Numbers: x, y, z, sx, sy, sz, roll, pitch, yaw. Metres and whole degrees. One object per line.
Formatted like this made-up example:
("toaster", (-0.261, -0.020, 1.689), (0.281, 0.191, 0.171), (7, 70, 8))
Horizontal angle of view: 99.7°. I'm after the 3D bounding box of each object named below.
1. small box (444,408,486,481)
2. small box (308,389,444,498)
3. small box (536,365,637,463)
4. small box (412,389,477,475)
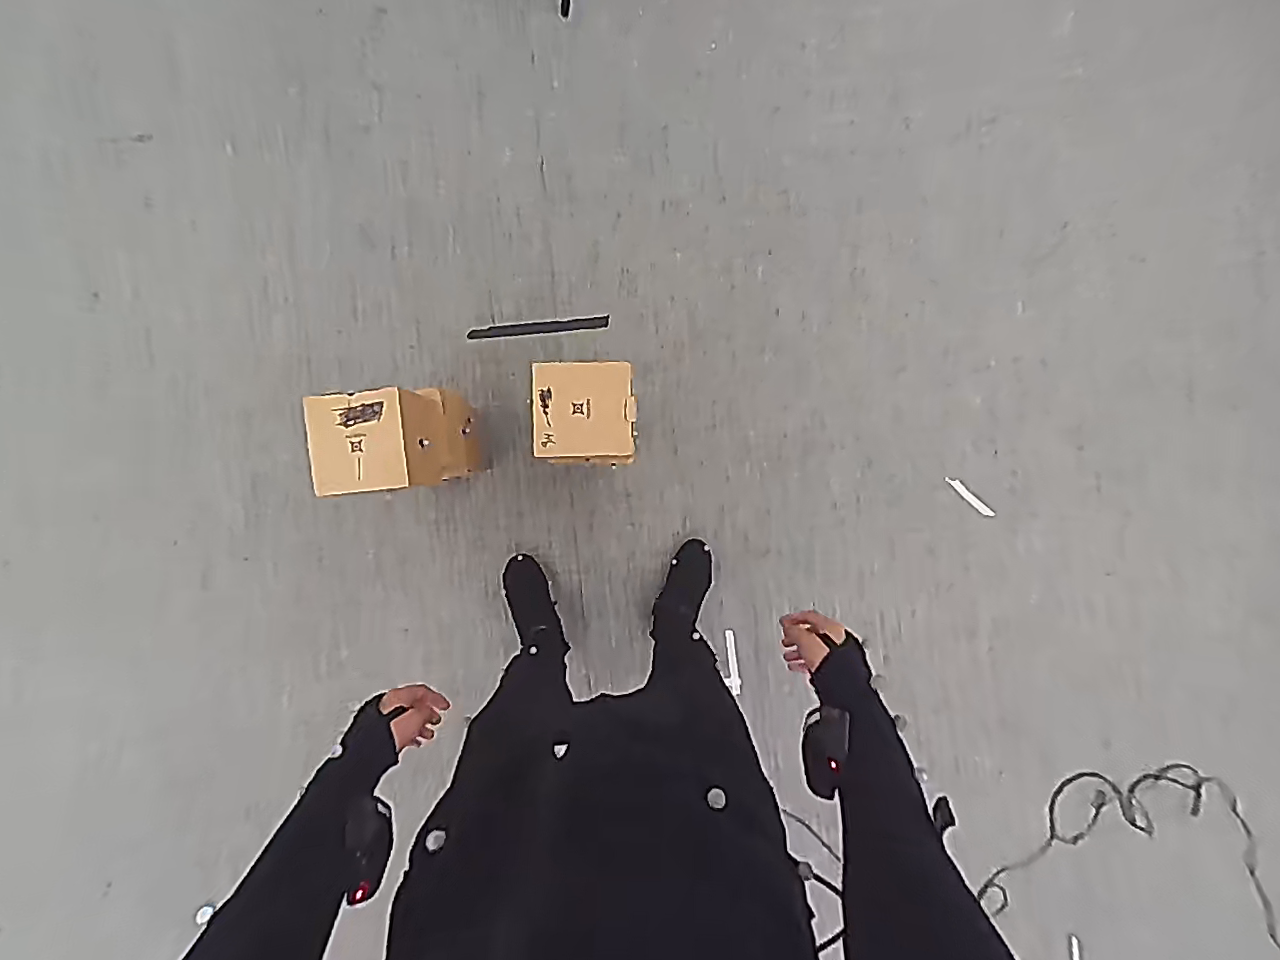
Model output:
("small box", (-0.489, -0.087, 1.331), (0.168, 0.176, 0.179), (-9, 91, -1))
("small box", (-0.479, -0.063, 1.004), (0.168, 0.176, 0.179), (-6, 92, 0))
("small box", (-0.099, -0.118, 1.018), (0.179, 0.176, 0.168), (0, 90, -3))
("small box", (-0.471, -0.090, 1.168), (0.179, 0.176, 0.168), (-10, 91, -1))
